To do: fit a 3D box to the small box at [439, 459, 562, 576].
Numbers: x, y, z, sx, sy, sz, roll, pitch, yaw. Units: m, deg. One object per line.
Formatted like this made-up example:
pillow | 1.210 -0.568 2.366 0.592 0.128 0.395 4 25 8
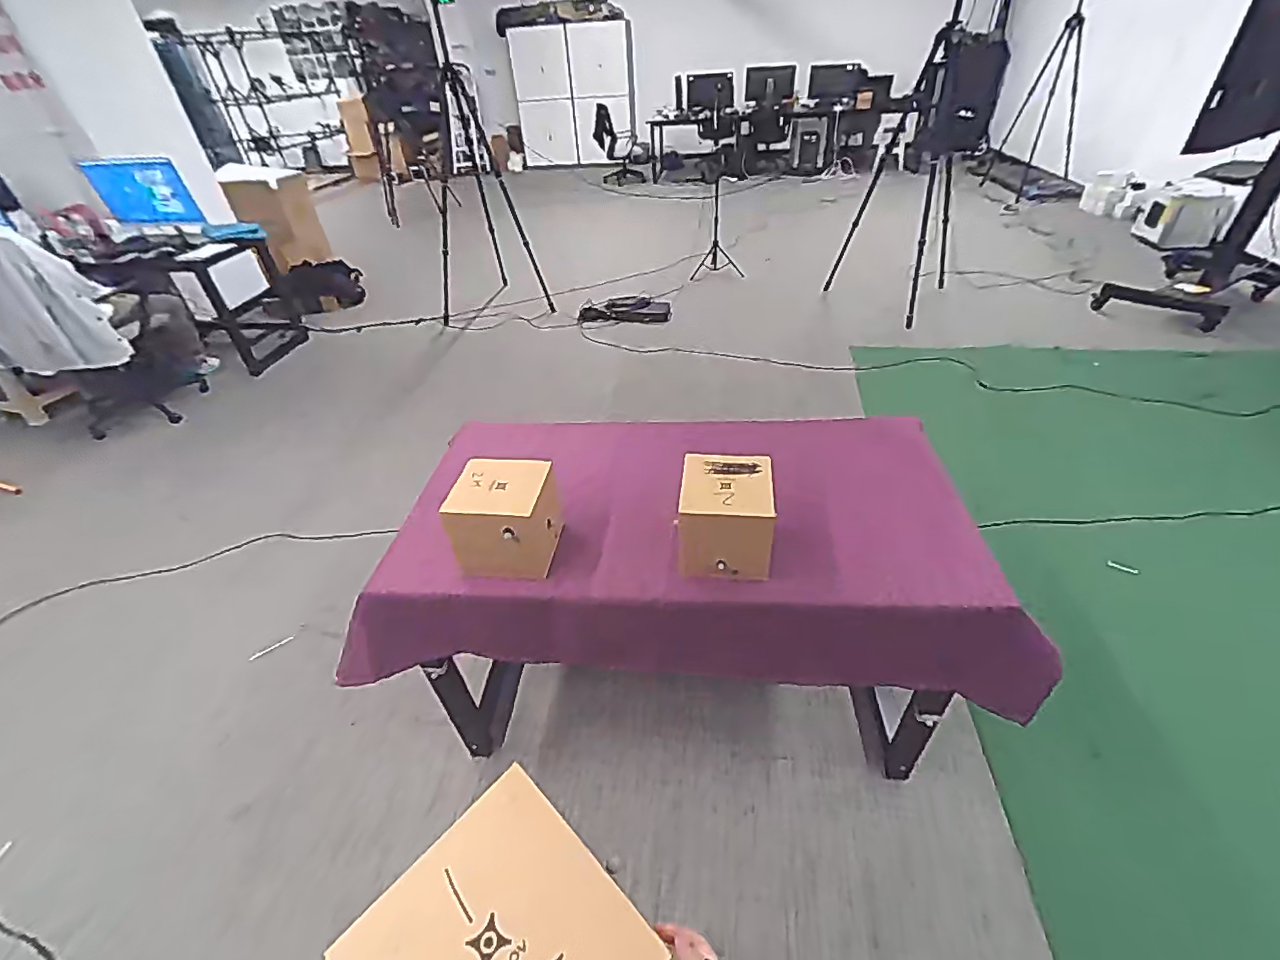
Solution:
small box | -0.264 0.075 1.074 0.179 0.176 0.168 1 38 8
